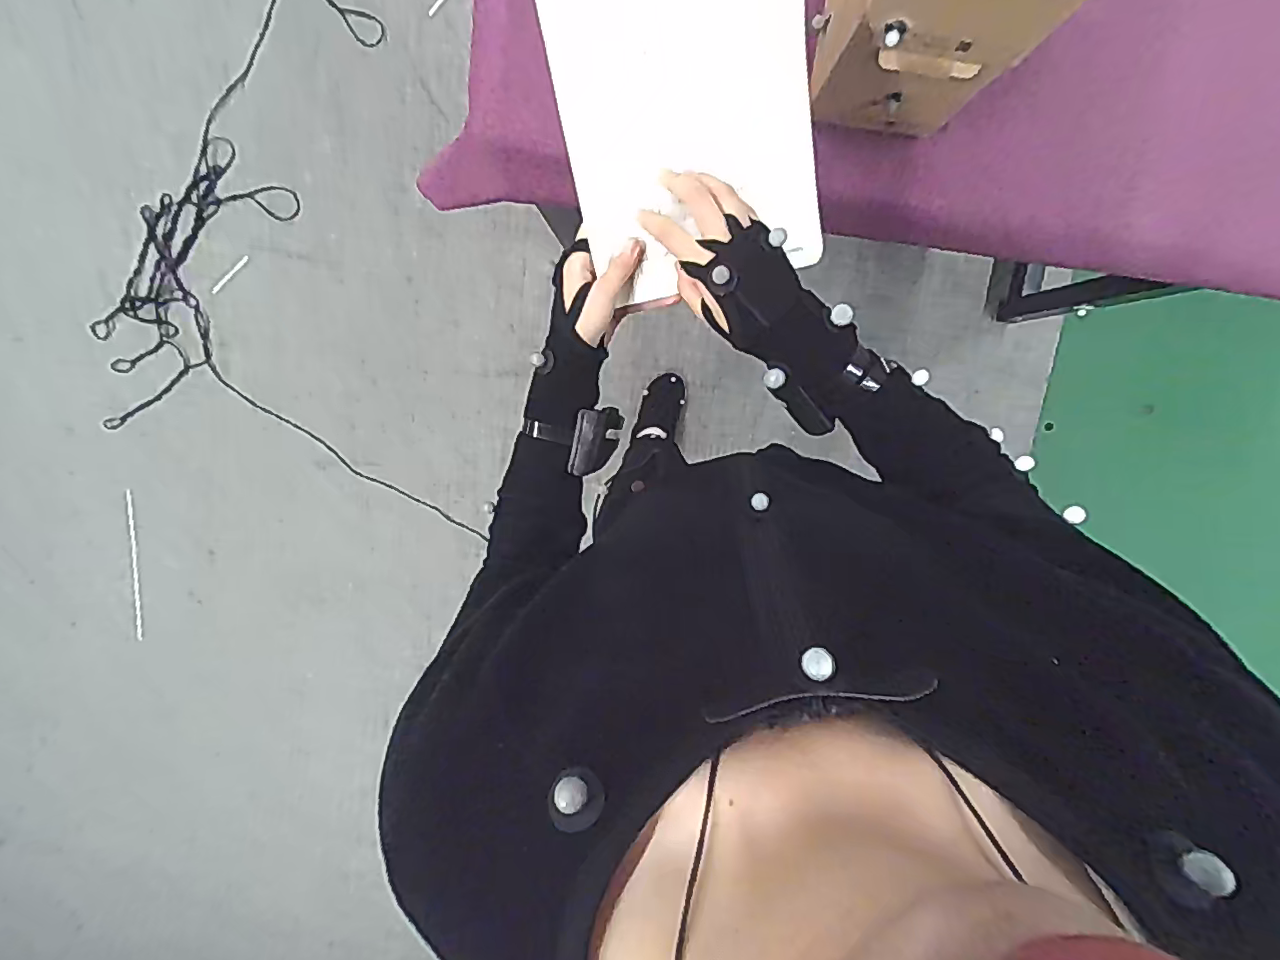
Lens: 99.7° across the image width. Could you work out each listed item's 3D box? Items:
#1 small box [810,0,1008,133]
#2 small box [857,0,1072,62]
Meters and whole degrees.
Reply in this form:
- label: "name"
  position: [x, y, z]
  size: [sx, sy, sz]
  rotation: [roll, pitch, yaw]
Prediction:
- label: "small box"
  position: [0.301, -0.521, 0.602]
  size: [0.168, 0.176, 0.179]
  rotation: [8, 100, 0]
- label: "small box"
  position: [0.296, -0.488, 0.439]
  size: [0.168, 0.176, 0.179]
  rotation: [9, 98, 0]
